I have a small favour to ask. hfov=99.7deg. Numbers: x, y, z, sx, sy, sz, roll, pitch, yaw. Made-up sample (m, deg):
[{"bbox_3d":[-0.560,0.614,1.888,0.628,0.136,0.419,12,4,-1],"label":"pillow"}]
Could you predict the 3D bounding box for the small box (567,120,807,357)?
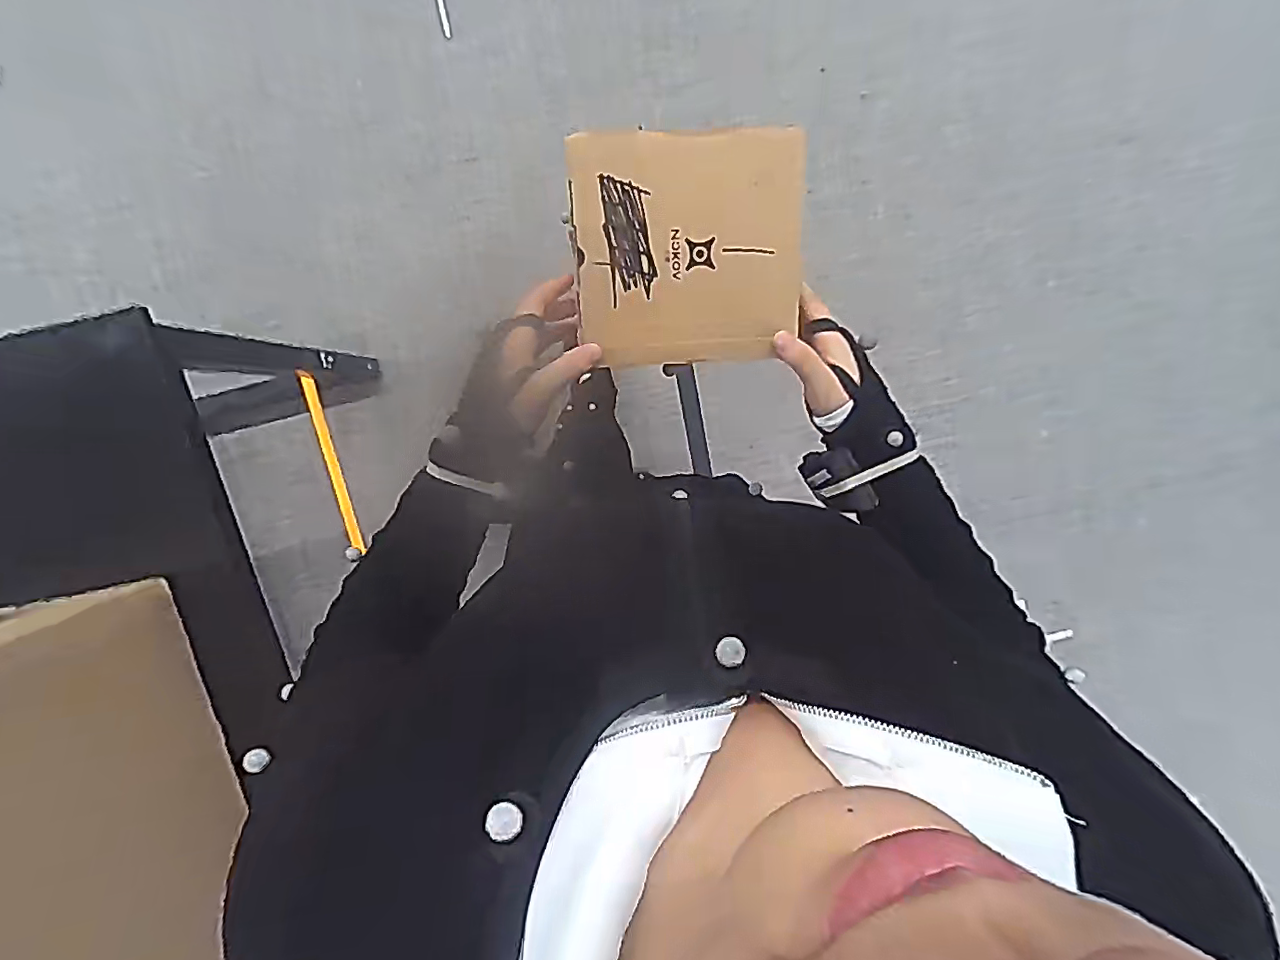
[{"bbox_3d":[0.033,-0.200,0.486,0.179,0.176,0.168,-4,107,-4],"label":"small box"}]
